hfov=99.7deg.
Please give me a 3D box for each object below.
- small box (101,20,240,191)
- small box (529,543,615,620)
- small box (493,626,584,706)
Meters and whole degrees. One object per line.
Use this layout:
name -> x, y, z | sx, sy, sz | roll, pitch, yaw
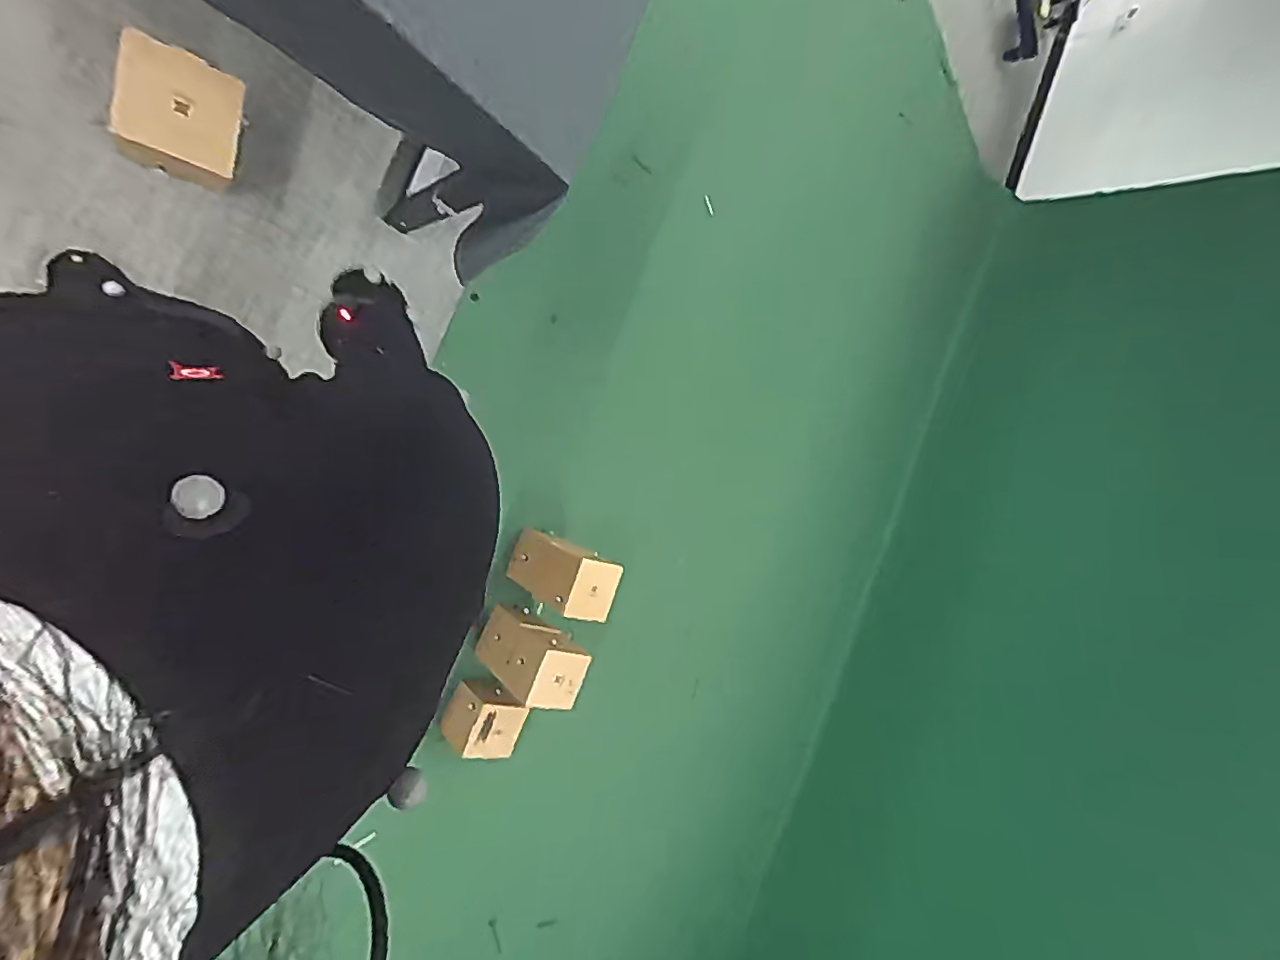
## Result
small box -> -0.852, -0.662, 0.983 | 0.168, 0.176, 0.179 | 9, 96, -43
small box -> -0.210, 0.301, 1.628 | 0.168, 0.176, 0.179 | 22, 87, -44
small box -> -0.306, 0.550, 1.609 | 0.179, 0.176, 0.168 | 27, 84, -44
